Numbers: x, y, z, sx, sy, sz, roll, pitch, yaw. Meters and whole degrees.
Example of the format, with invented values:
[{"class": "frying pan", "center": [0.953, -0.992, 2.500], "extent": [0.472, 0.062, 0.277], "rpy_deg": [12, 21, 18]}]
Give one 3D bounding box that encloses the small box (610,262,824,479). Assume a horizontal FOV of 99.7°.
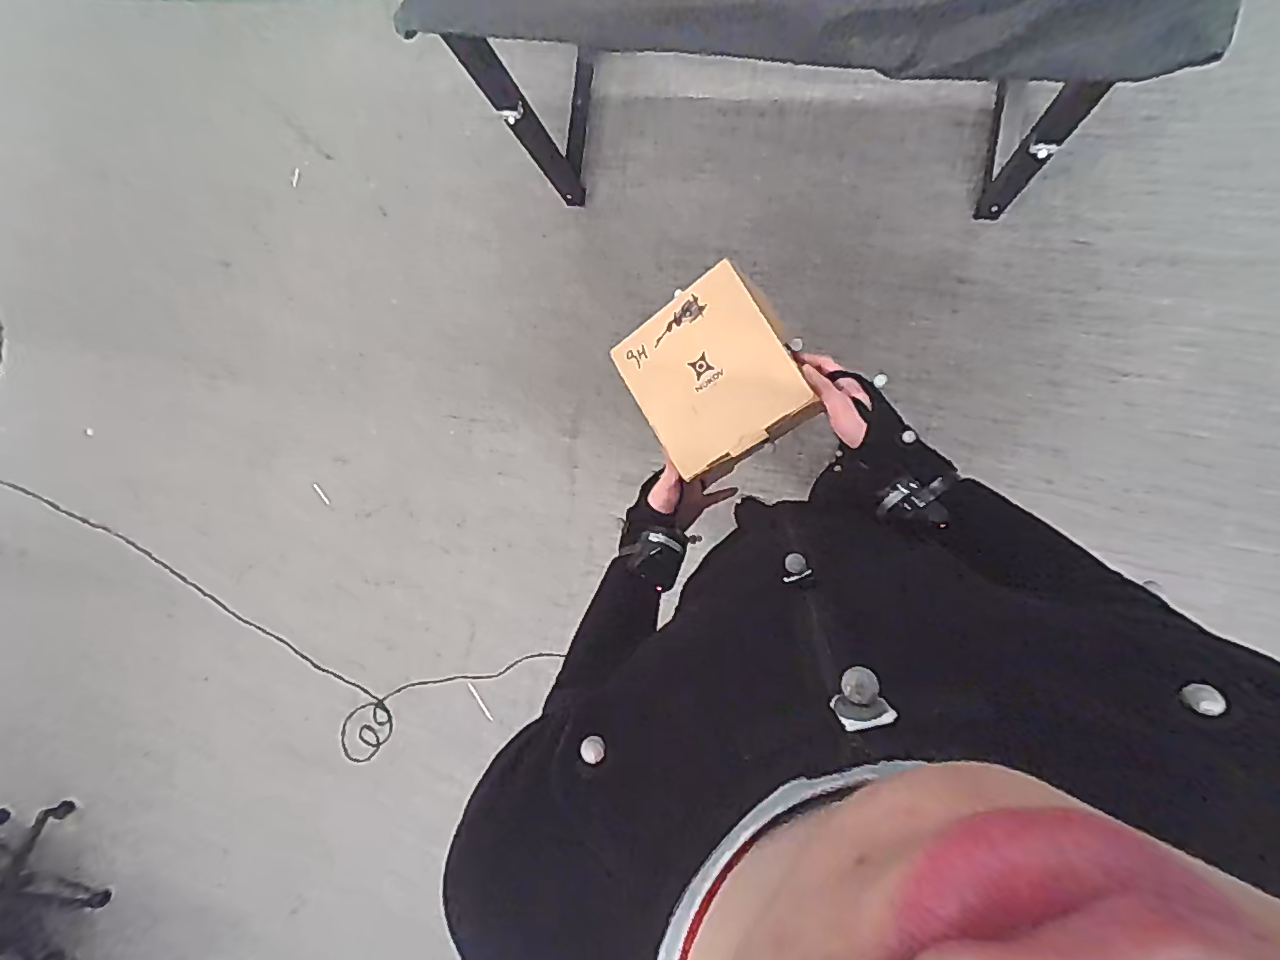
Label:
[{"class": "small box", "center": [0.102, -0.123, 0.649], "extent": [0.168, 0.176, 0.179], "rpy_deg": [-33, 82, 24]}]
